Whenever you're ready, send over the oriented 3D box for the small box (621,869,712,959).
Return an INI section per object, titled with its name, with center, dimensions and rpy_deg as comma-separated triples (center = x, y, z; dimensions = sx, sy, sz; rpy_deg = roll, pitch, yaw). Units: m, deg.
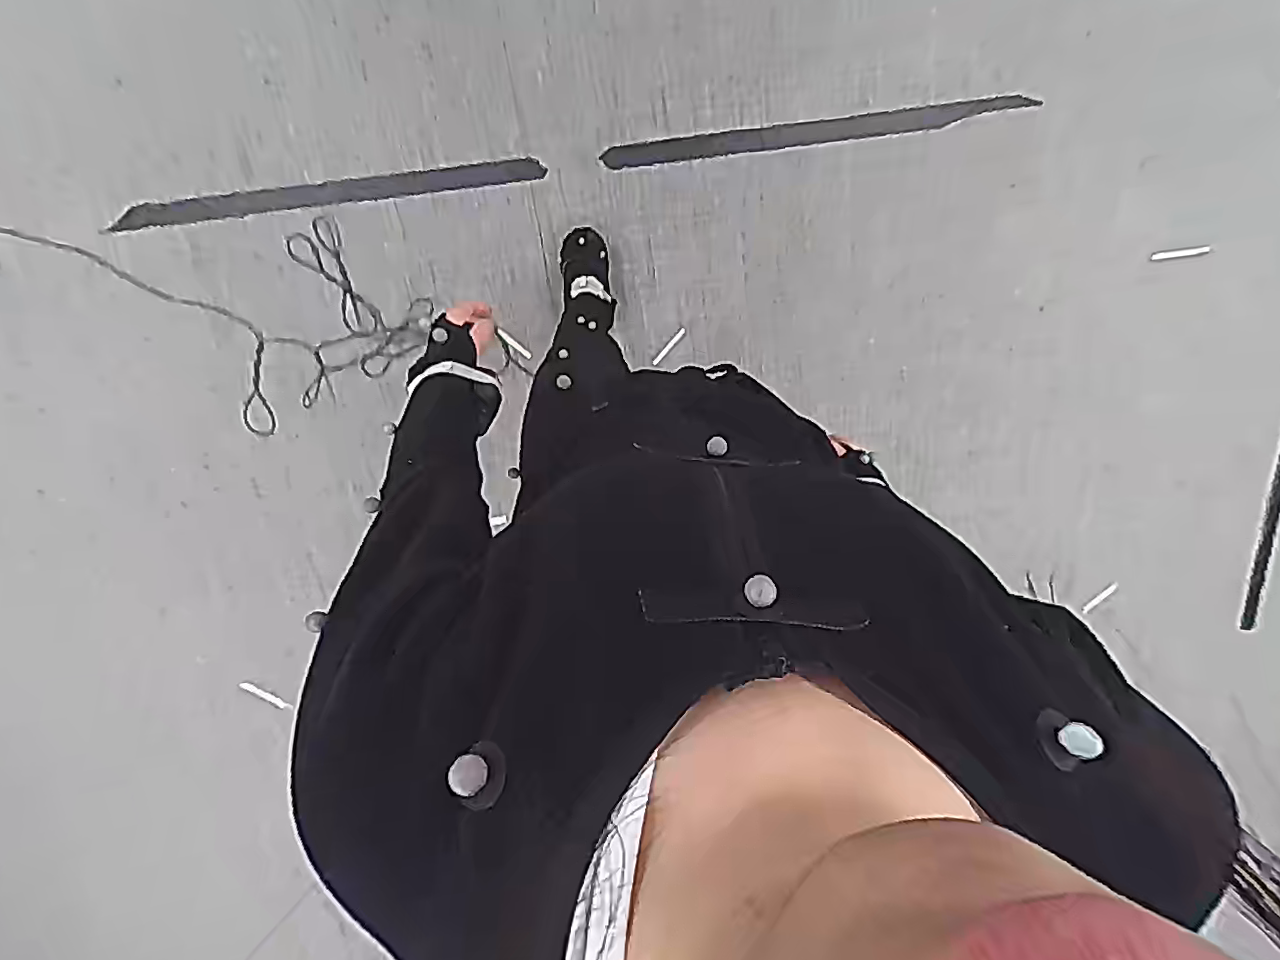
[small box]
center = 0.053, 0.937, 1.099
dimensions = 0.168, 0.176, 0.179
rpy_deg = -7, 106, -4
